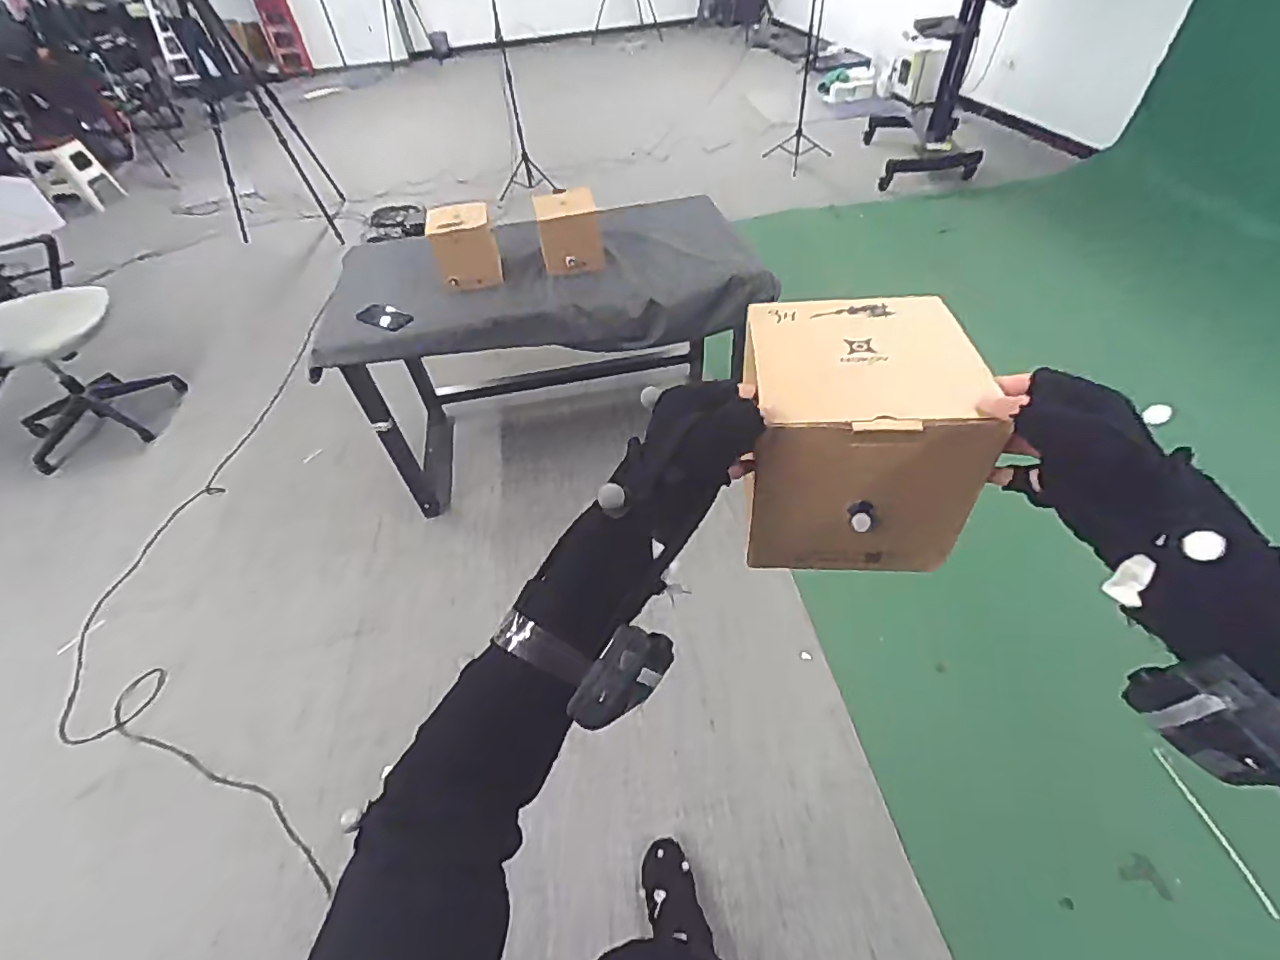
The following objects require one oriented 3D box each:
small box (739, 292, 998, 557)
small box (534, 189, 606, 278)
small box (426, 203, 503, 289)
[{"bbox_3d":[0.176,-0.045,0.485,0.168,0.176,0.179,0,46,7],"label":"small box"},{"bbox_3d":[-0.201,-0.706,1.553,0.168,0.176,0.179,-14,48,-5],"label":"small box"},{"bbox_3d":[-0.491,-0.657,1.531,0.168,0.176,0.179,-12,46,-6],"label":"small box"}]
